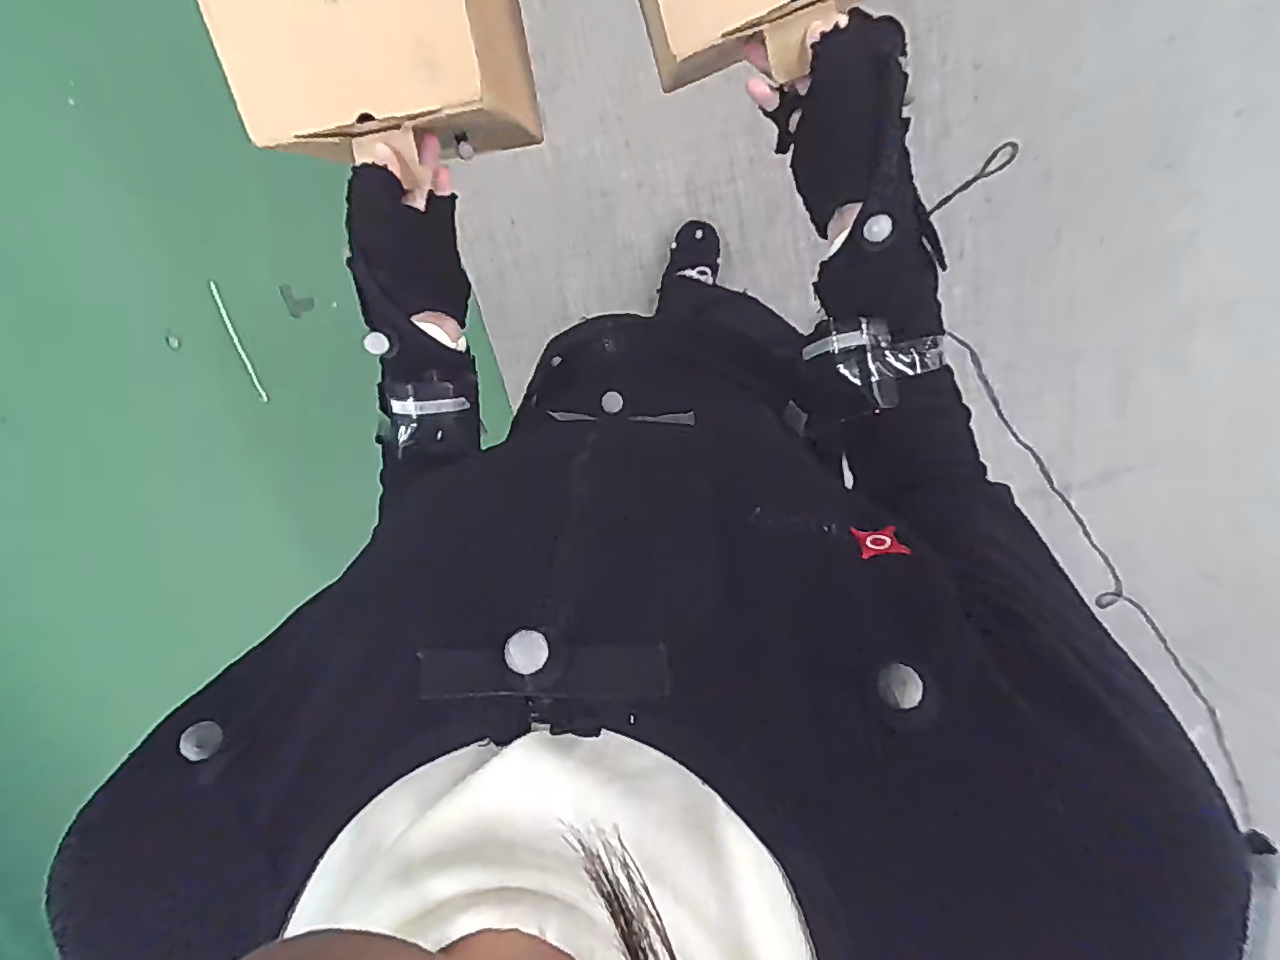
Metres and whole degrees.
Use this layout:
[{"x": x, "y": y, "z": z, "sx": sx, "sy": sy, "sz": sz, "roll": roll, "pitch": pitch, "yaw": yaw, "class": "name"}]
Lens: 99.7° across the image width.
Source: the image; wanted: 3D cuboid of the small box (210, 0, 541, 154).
[{"x": -0.181, "y": -0.351, "z": 0.391, "sx": 0.168, "sy": 0.176, "sz": 0.179, "roll": -7, "pitch": 113, "yaw": 6, "class": "small box"}]
